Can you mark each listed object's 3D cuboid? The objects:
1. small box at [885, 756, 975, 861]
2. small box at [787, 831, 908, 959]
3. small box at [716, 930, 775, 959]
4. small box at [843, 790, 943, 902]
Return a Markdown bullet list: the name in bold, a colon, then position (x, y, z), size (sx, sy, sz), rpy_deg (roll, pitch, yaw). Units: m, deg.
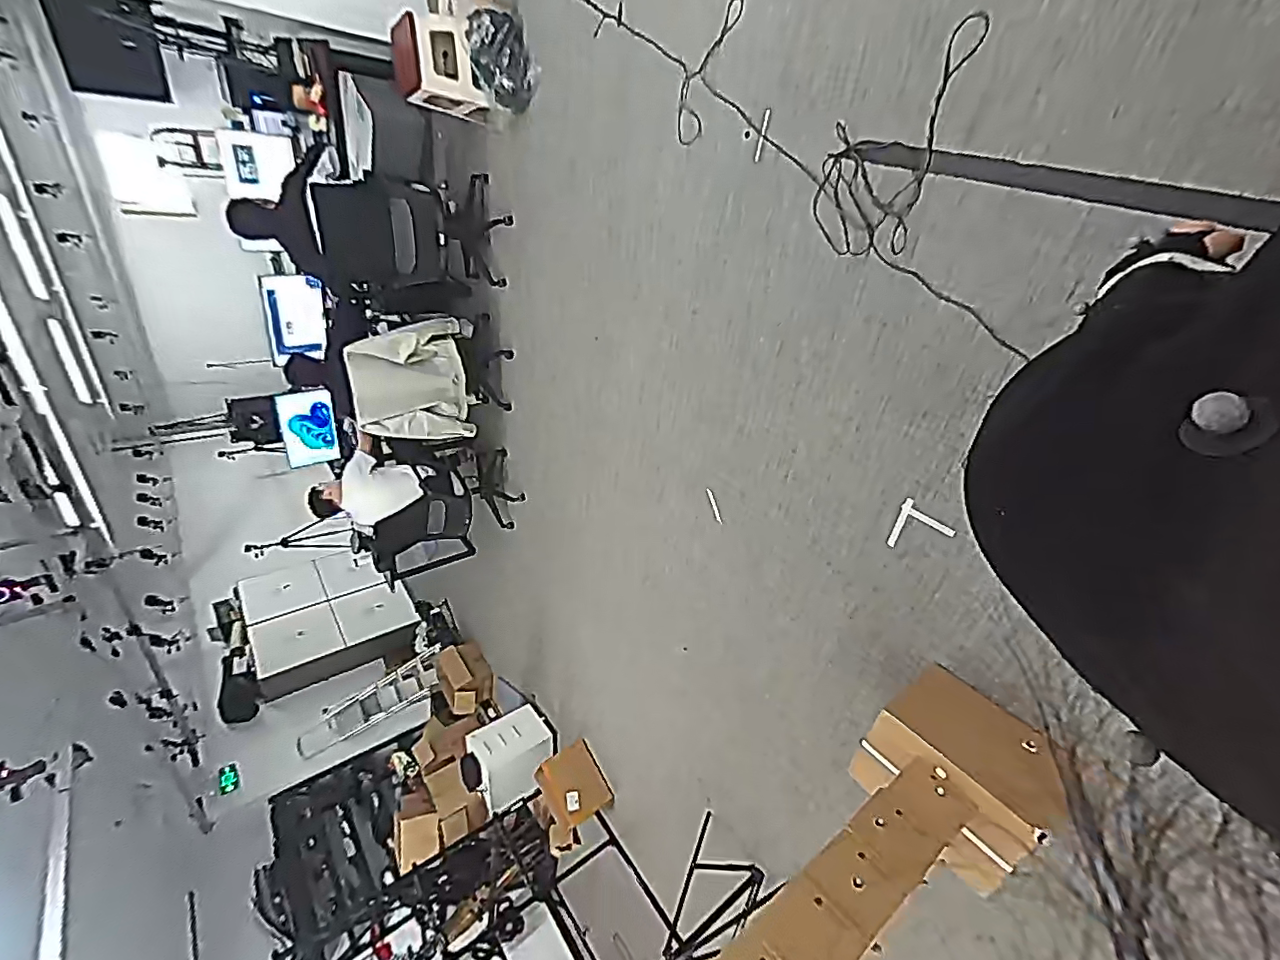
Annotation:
- **small box**: position (0.708, 0.849, 1.366), size (0.168, 0.176, 0.179), rpy_deg (37, 130, 40)
- **small box**: position (0.452, 0.920, 1.176), size (0.168, 0.176, 0.179), rpy_deg (32, 127, 45)
- **small box**: position (0.194, 0.990, 0.985), size (0.168, 0.176, 0.179), rpy_deg (28, 123, 47)
- **small box**: position (0.579, 0.878, 1.272), size (0.168, 0.176, 0.179), rpy_deg (36, 131, 42)
